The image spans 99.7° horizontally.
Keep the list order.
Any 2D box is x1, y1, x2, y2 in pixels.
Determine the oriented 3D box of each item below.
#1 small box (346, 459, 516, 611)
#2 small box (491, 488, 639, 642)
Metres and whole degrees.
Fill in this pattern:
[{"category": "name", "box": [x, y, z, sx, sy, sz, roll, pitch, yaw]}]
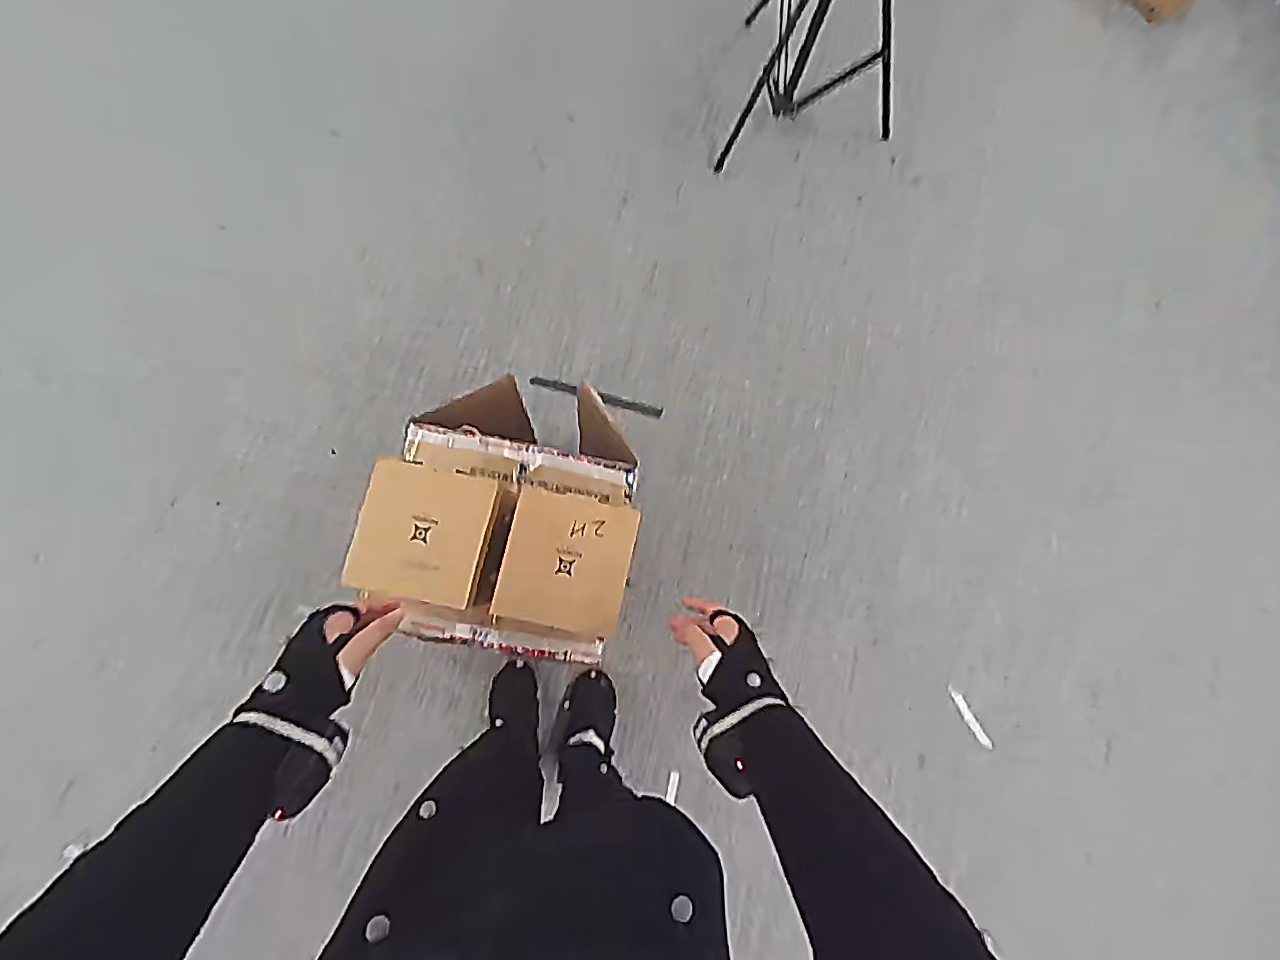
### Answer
[{"category": "small box", "box": [-0.288, 0.084, 0.789, 0.168, 0.176, 0.179, 11, 80, -1]}, {"category": "small box", "box": [-0.104, 0.126, 0.796, 0.168, 0.176, 0.179, 13, 78, -4]}]
